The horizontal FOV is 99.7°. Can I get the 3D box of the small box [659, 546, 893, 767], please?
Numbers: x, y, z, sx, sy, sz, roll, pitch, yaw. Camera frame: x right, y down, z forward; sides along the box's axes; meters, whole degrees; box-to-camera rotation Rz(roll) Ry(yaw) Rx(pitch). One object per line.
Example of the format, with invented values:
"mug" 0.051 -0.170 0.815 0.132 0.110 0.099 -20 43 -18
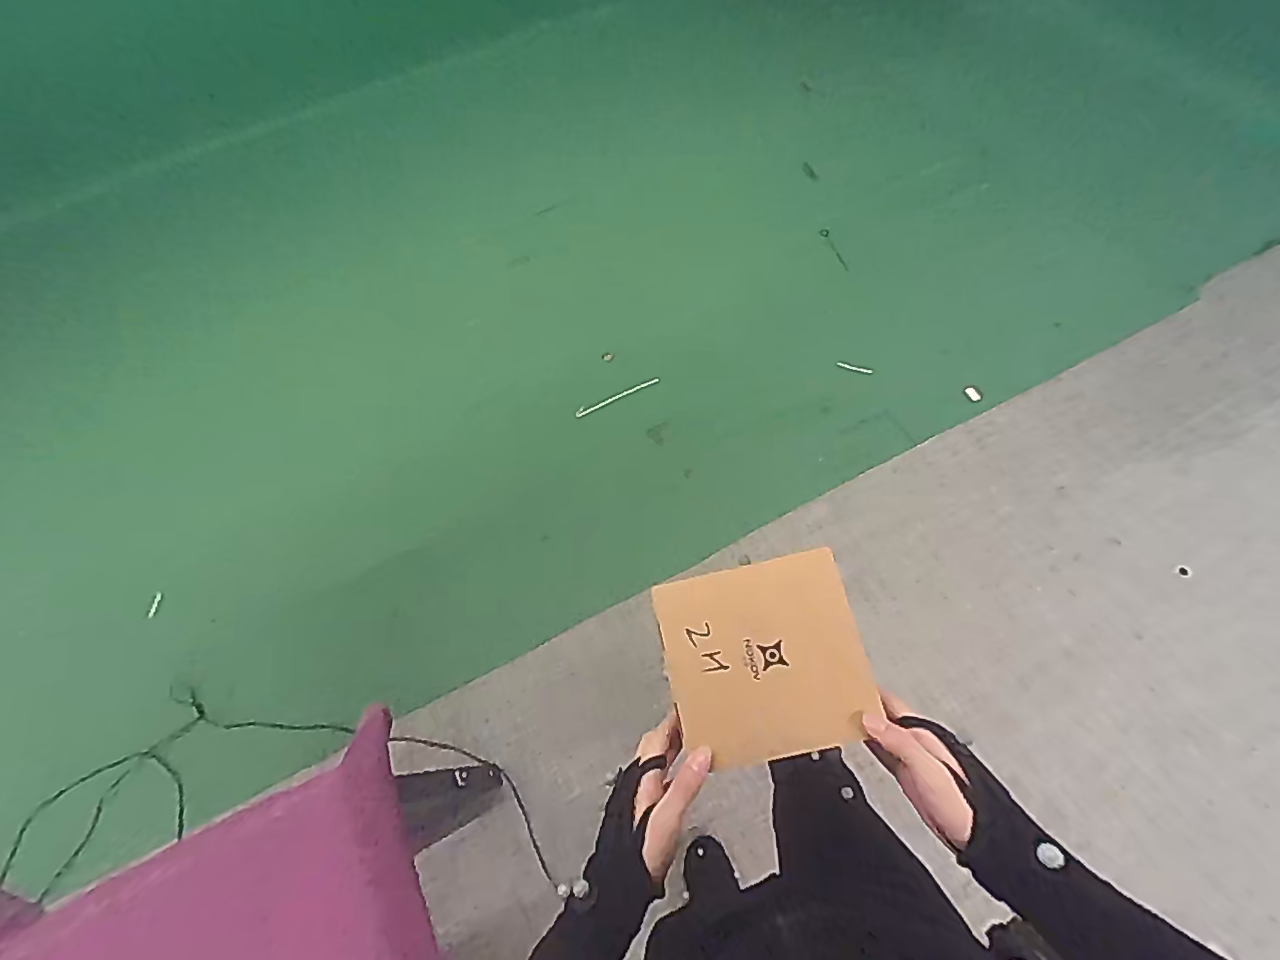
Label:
"small box" 0.125 0.177 0.559 0.179 0.176 0.168 -13 71 4
